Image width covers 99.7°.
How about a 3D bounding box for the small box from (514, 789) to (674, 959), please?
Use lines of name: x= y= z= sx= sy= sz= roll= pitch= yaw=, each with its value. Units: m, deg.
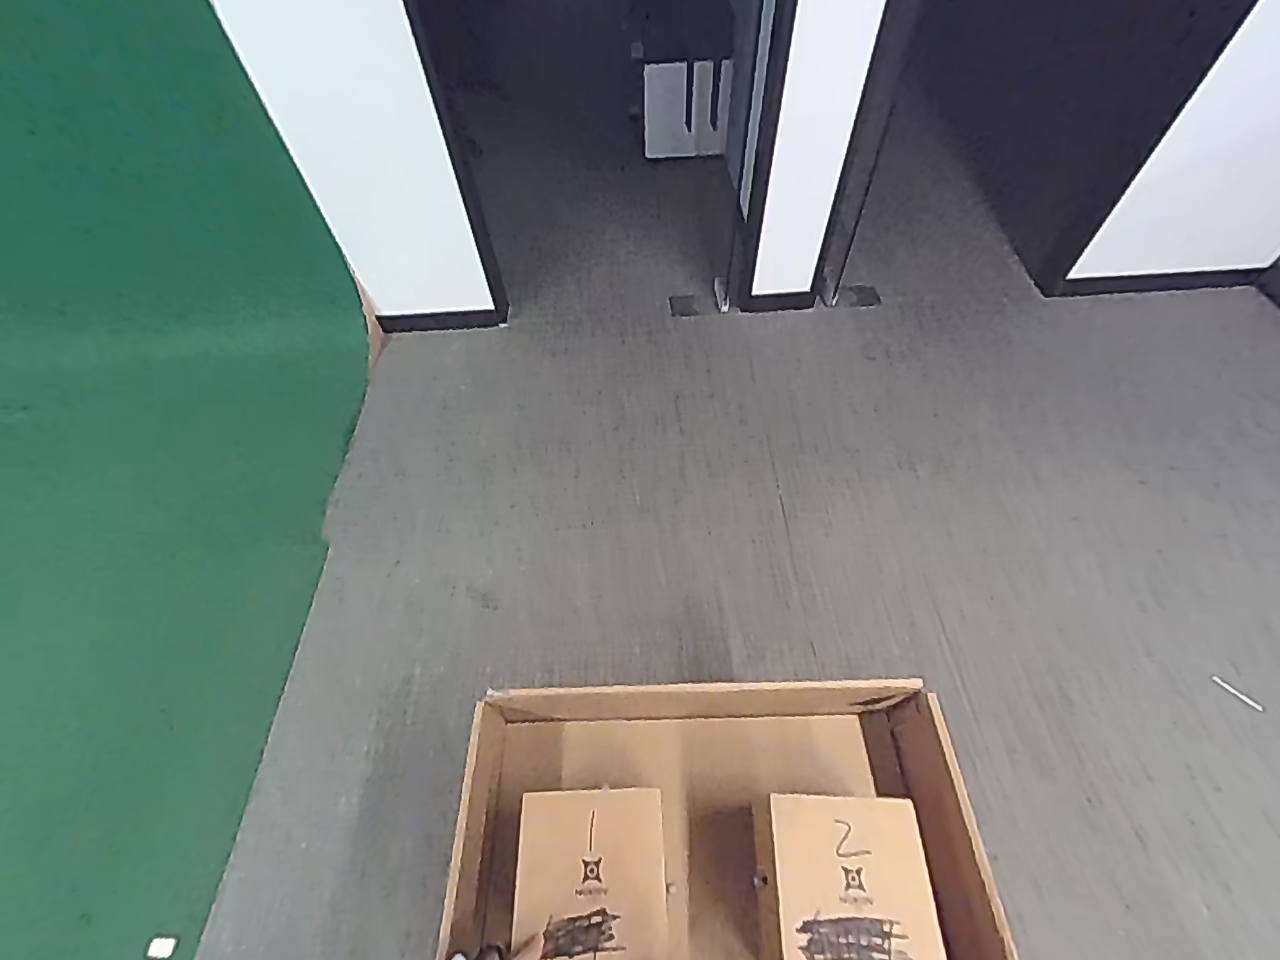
small box: x=-0.046 y=0.486 z=0.656 sx=0.168 sy=0.176 sz=0.179 roll=-4 pitch=54 yaw=1
